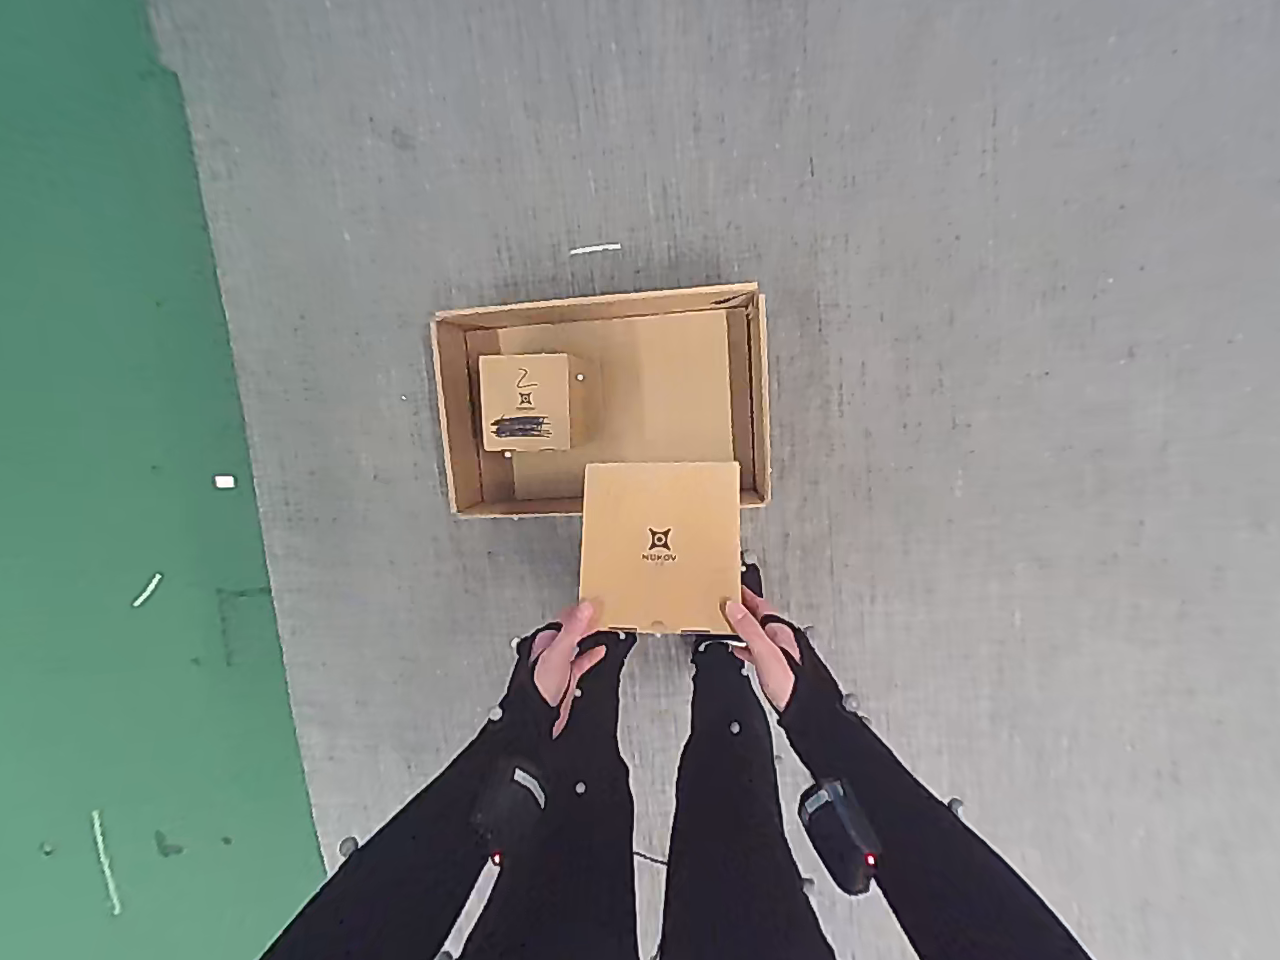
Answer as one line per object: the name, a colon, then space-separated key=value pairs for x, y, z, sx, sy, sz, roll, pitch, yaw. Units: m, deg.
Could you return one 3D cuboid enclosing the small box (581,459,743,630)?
small box: x=0.033 y=0.080 z=0.638 sx=0.168 sy=0.176 sz=0.179 roll=0 pitch=78 yaw=8
